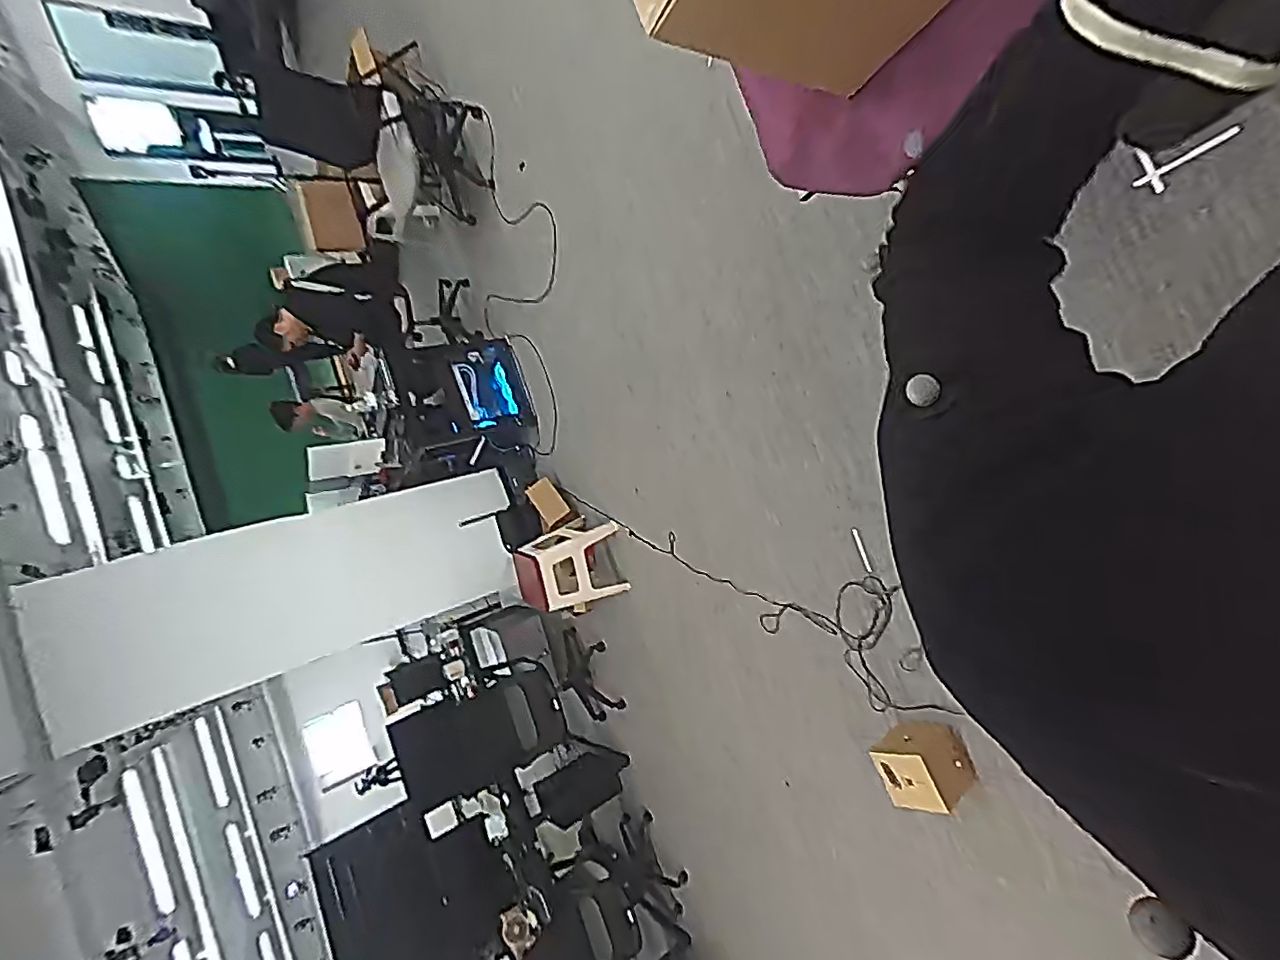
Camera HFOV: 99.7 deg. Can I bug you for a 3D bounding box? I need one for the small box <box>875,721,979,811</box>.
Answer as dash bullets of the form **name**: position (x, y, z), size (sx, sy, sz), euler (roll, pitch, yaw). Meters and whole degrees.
- **small box**: position (0.836, 0.824, 1.575), size (0.179, 0.176, 0.168), euler (-37, 75, 55)
